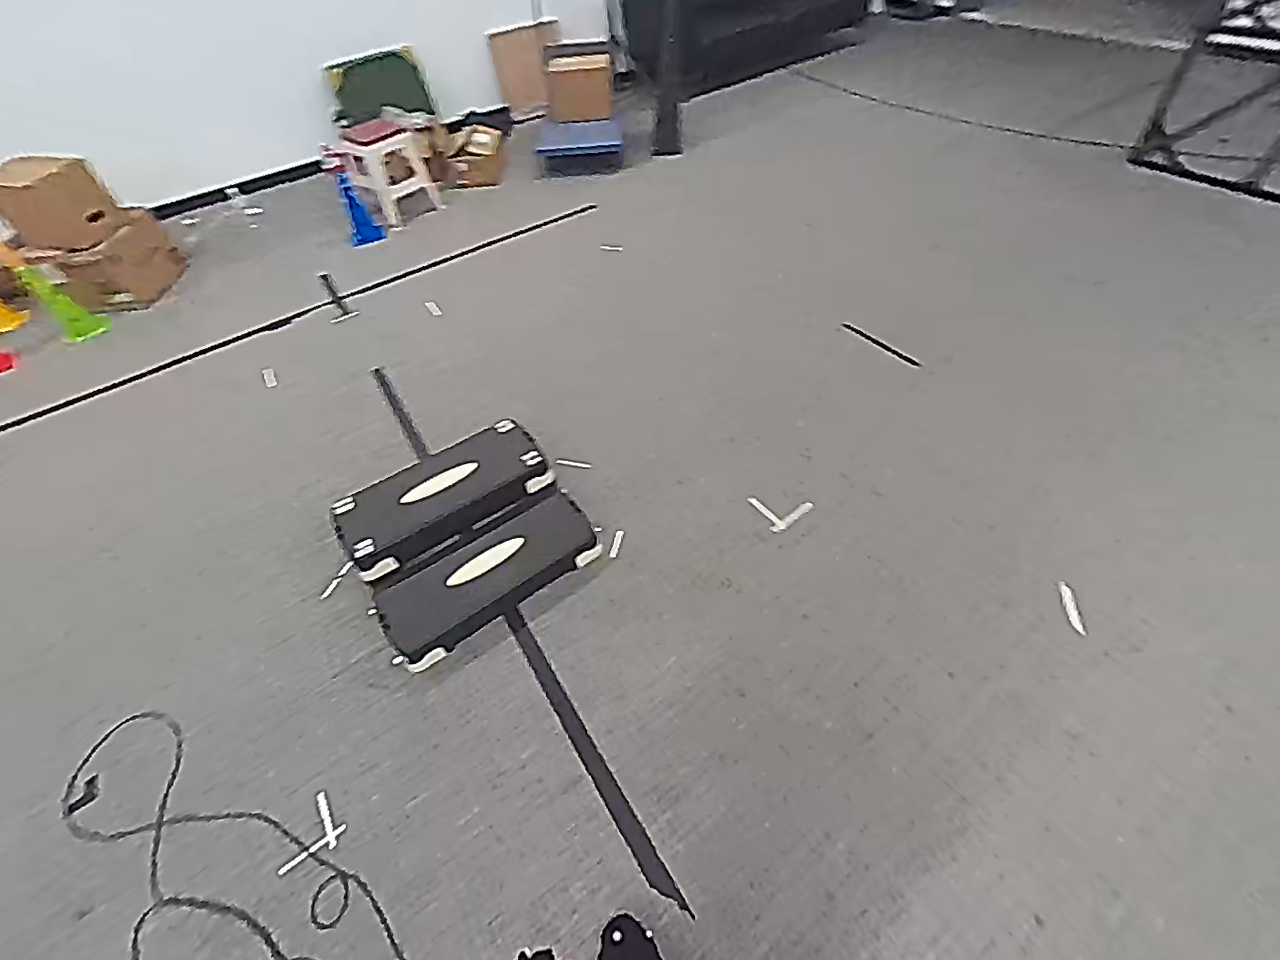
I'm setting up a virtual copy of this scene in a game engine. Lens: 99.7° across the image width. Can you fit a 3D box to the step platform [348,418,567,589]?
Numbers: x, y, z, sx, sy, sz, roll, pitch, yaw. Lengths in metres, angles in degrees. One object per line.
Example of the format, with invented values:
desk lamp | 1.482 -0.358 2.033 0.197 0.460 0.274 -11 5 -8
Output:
step platform | -0.599 0.060 1.818 0.684 0.204 0.286 -31 54 -20
